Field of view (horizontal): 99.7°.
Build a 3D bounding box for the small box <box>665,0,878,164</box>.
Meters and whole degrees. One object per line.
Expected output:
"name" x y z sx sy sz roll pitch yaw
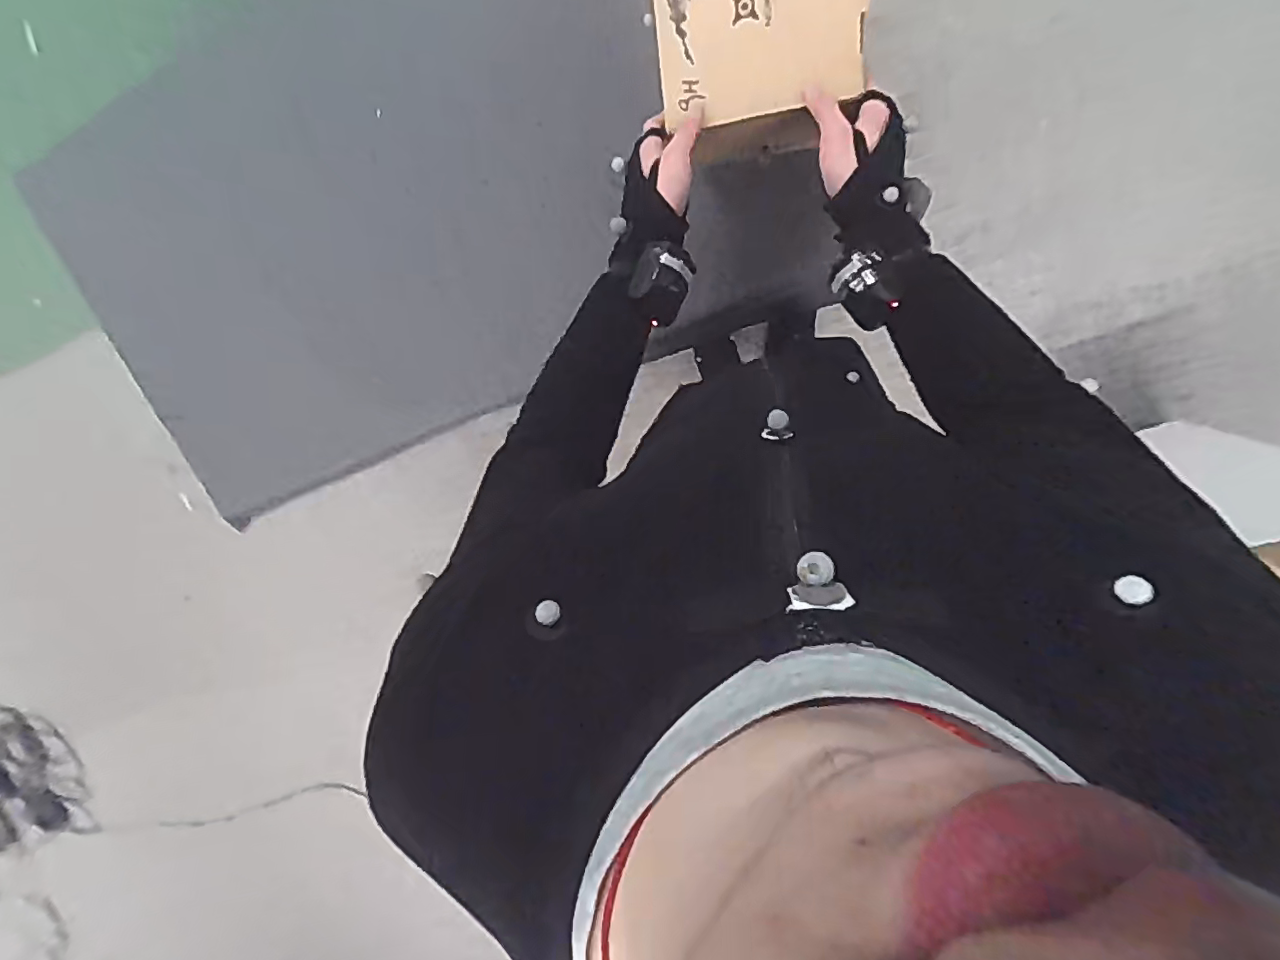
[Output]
"small box" 0.122 -0.424 0.525 0.179 0.176 0.168 -2 110 12
